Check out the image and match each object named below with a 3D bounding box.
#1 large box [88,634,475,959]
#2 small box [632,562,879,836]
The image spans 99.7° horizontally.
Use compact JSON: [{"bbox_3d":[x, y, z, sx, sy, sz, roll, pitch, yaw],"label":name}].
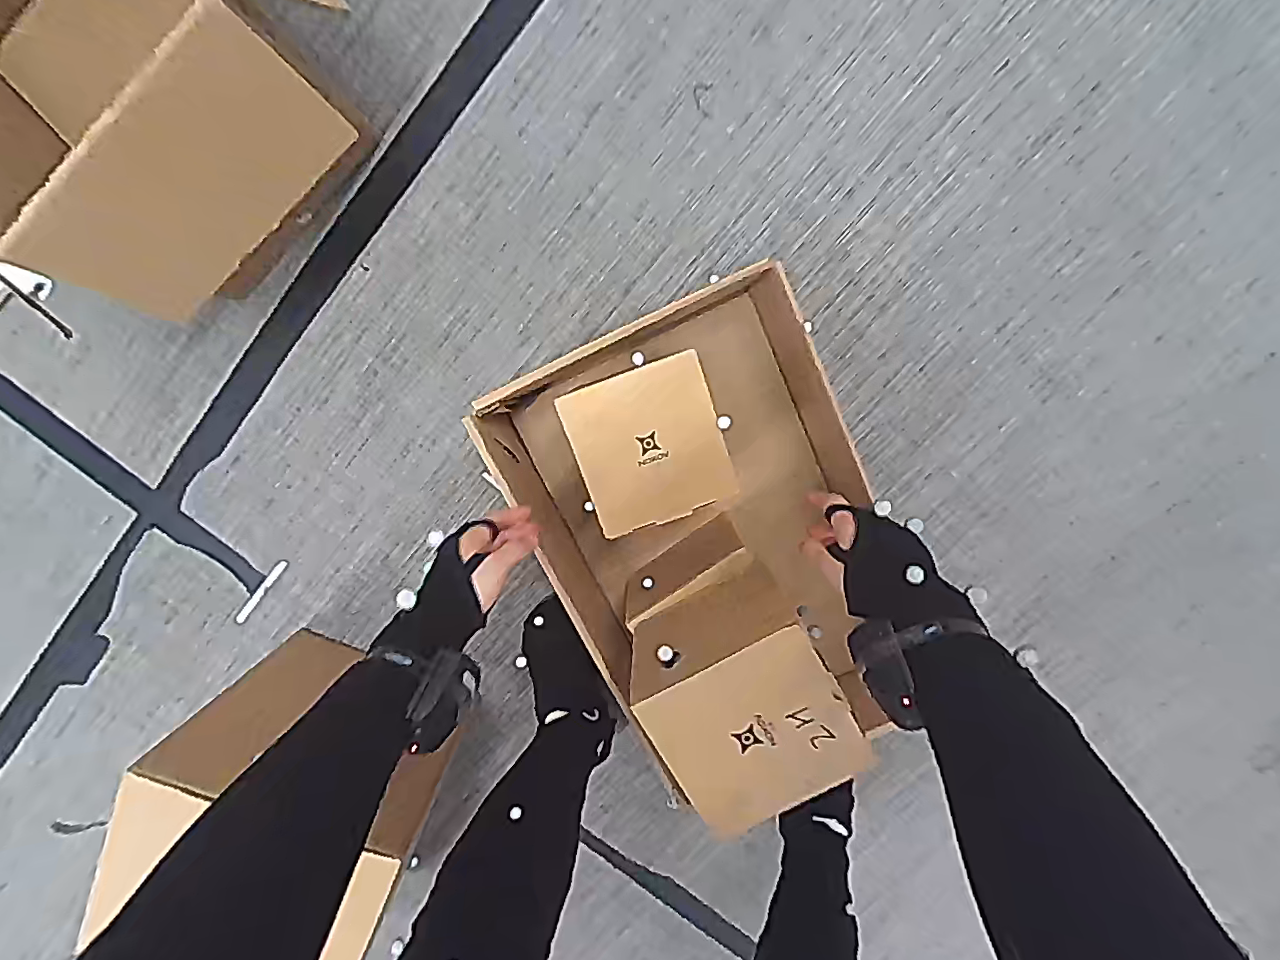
[{"bbox_3d":[-0.478,0.505,0.778,0.320,0.320,0.408,22,102,-4],"label":"large box"},{"bbox_3d":[0.107,0.214,0.570,0.179,0.176,0.168,-30,99,5],"label":"small box"}]
